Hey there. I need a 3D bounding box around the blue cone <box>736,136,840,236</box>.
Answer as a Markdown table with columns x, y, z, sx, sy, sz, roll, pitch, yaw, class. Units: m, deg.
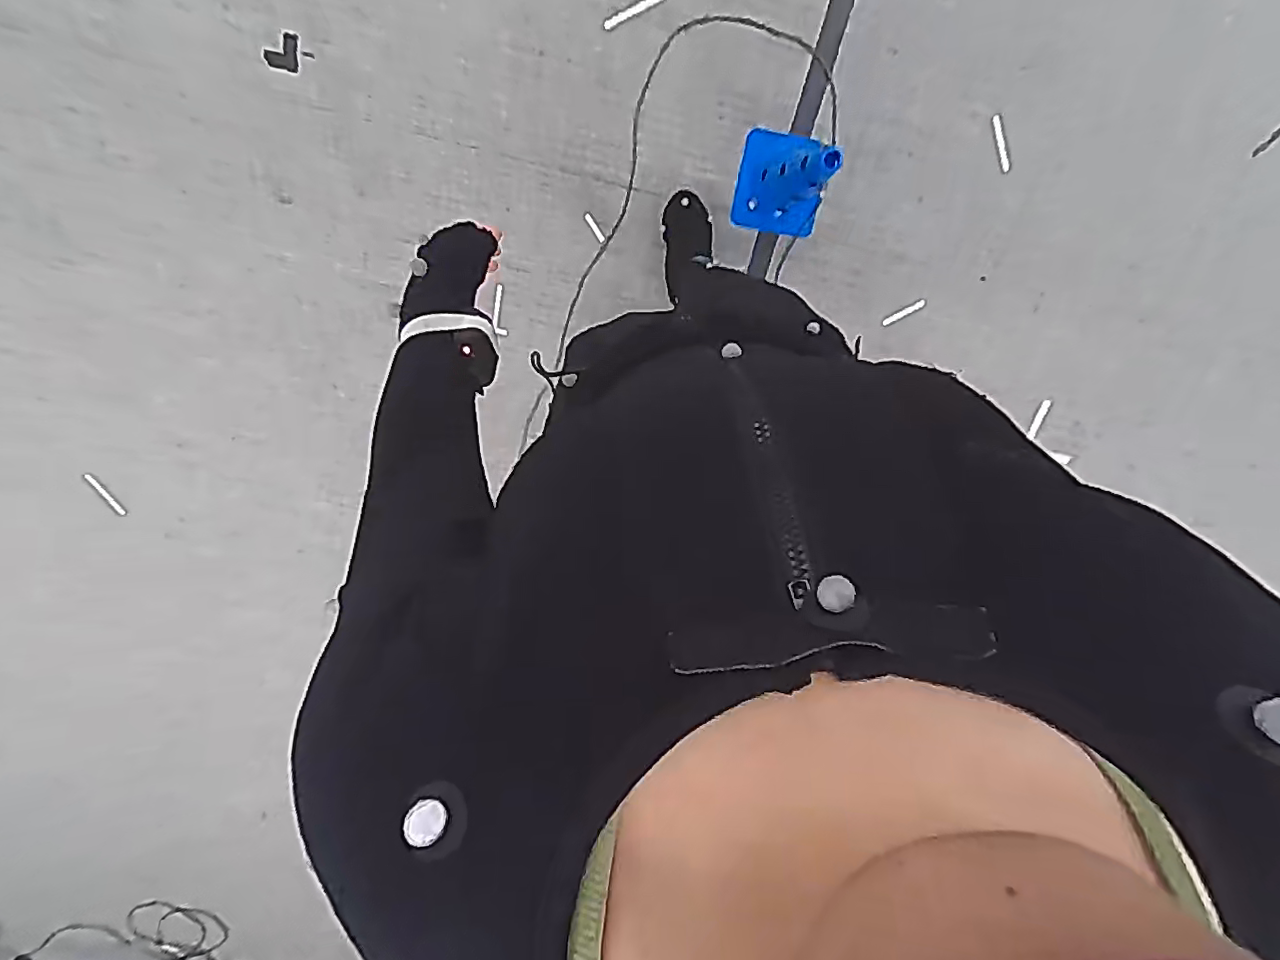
| x | y | z | sx | sy | sz | roll | pitch | yaw | class |
| --- | --- | --- | --- | --- | --- | --- | --- | --- | --- |
| 0.326 | -0.598 | 1.076 | 0.192 | 0.380 | 0.193 | 8 | 113 | -4 | blue cone |
